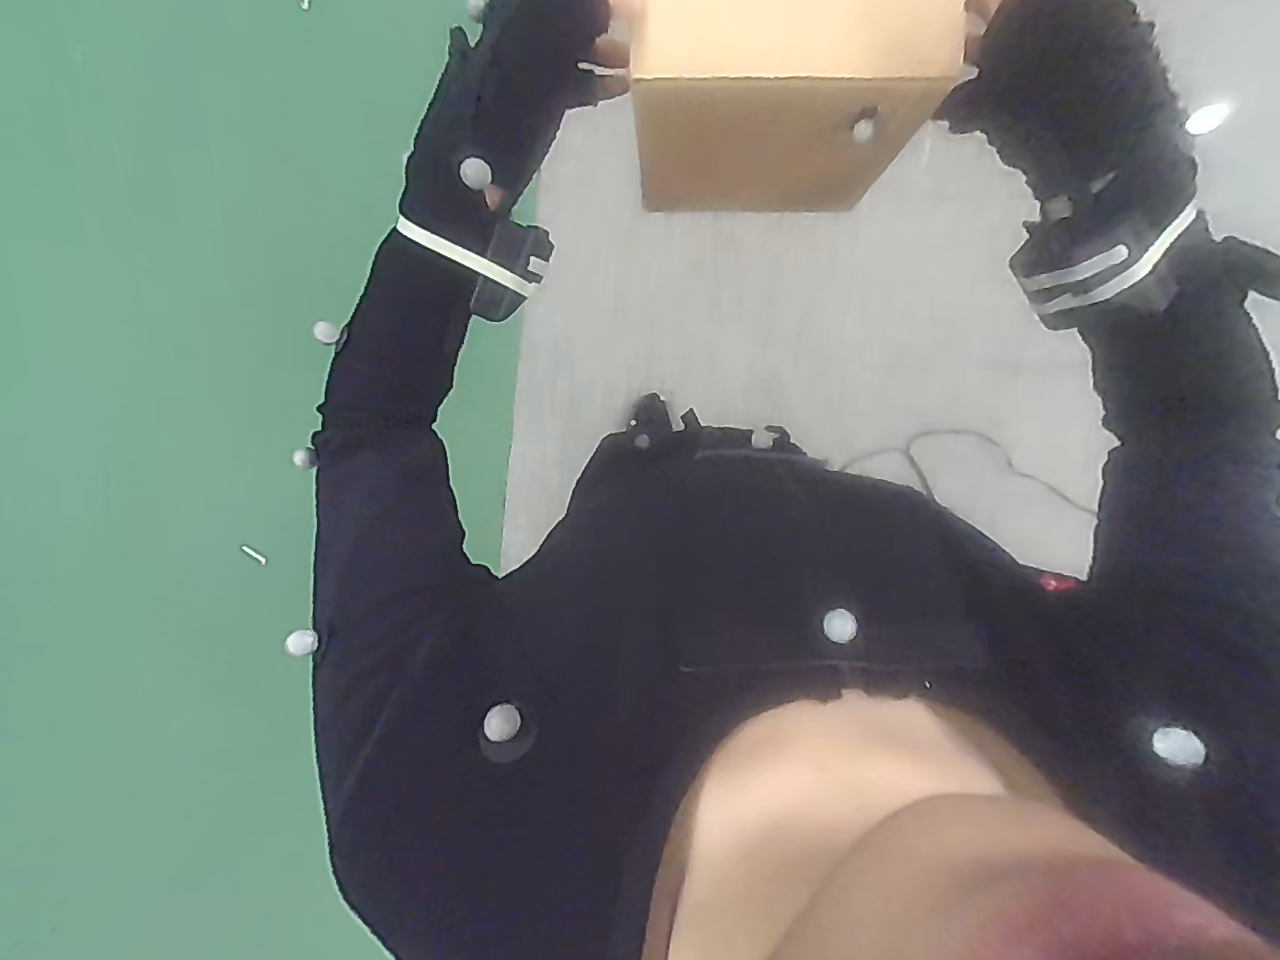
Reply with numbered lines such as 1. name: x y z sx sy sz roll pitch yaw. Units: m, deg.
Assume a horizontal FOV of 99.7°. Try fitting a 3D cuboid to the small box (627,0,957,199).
1. small box: 0.084 -0.307 0.363 0.179 0.176 0.168 0 95 1
